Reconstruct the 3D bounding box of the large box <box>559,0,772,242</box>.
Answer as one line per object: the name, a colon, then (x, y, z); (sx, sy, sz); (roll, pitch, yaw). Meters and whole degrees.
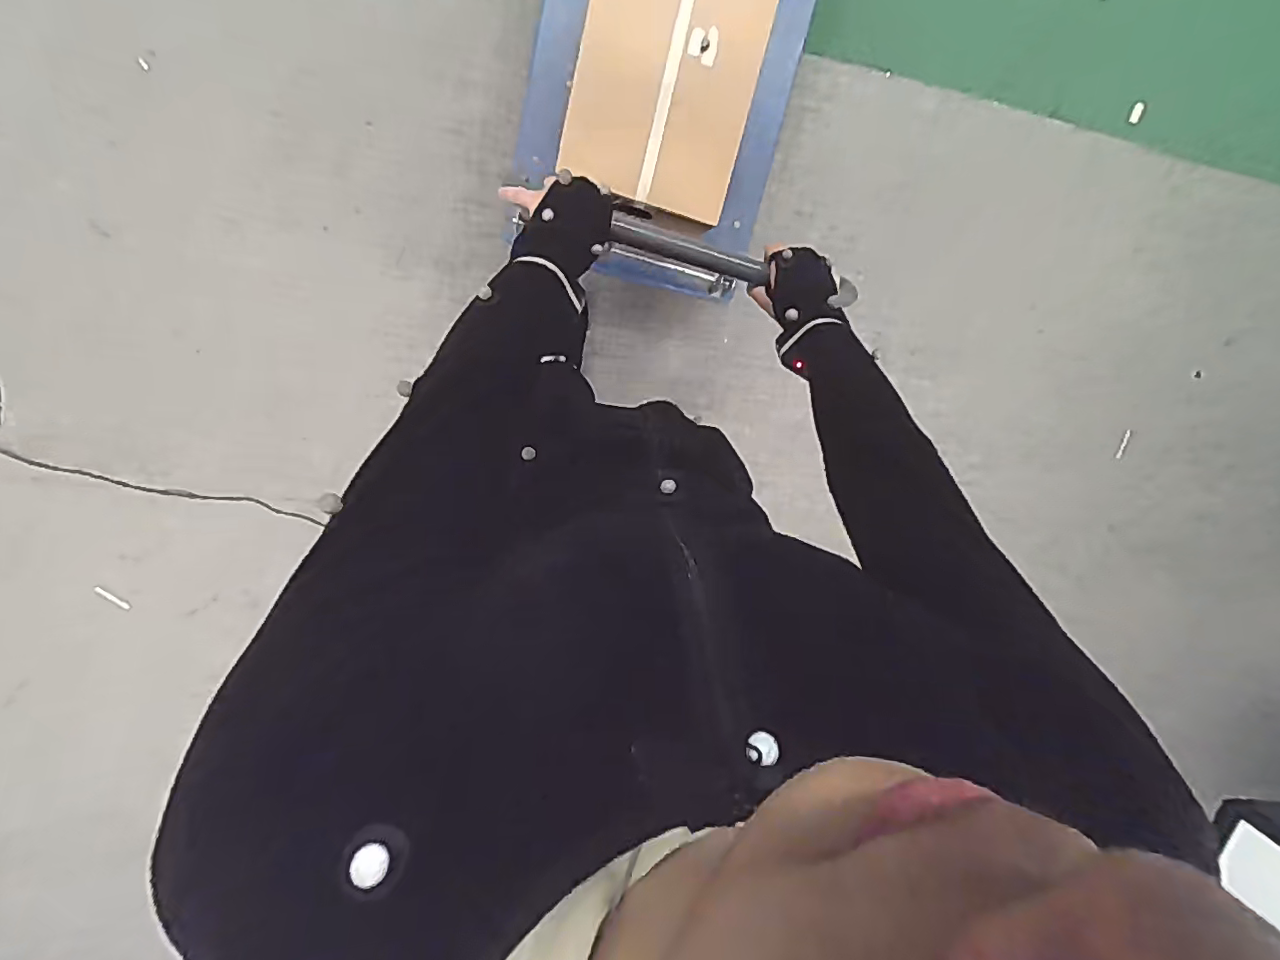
large box: (0.022, -0.749, 1.093); (0.320, 0.320, 0.408); (12, 103, -13)
